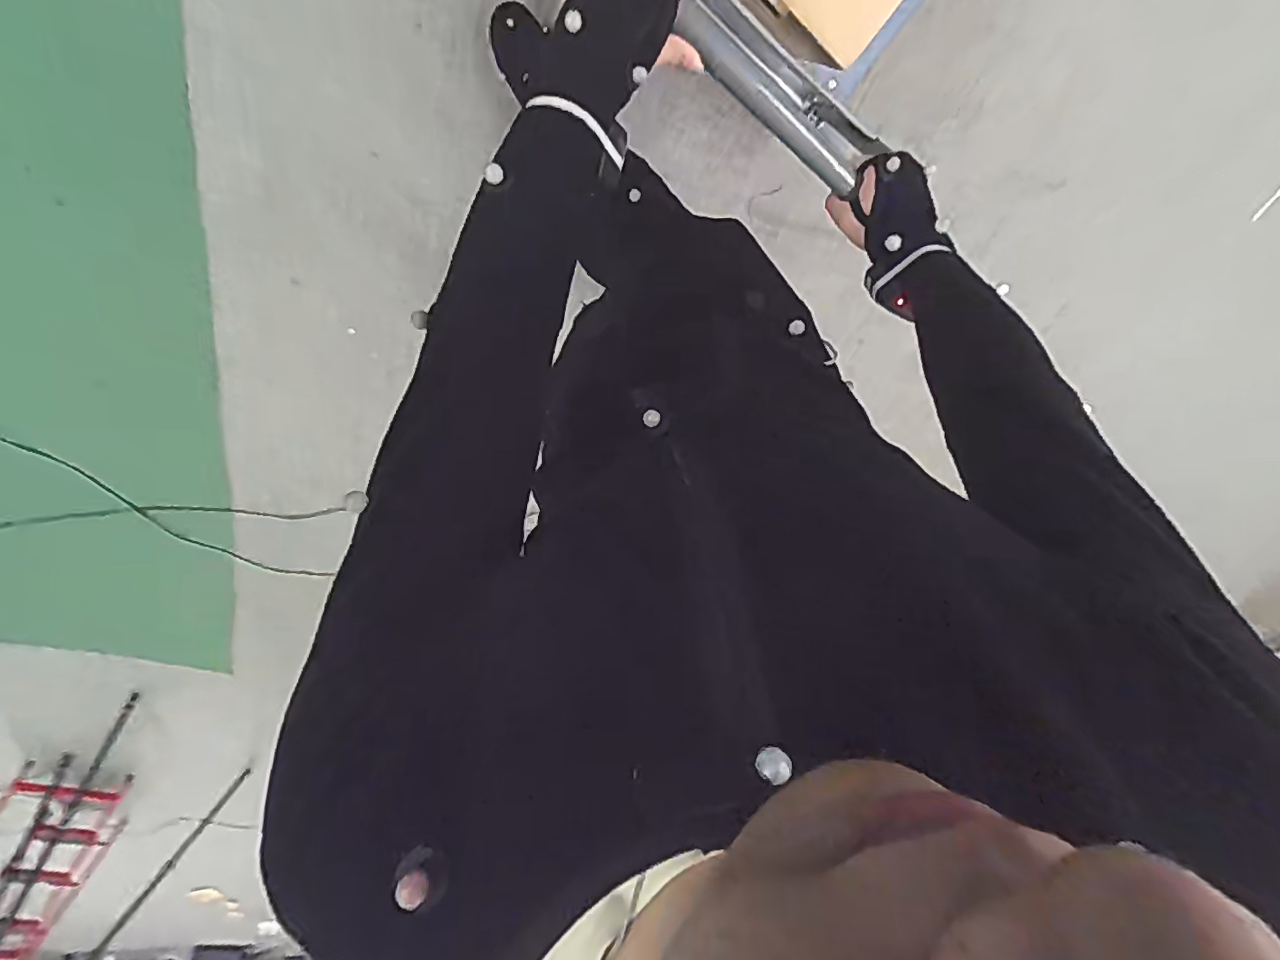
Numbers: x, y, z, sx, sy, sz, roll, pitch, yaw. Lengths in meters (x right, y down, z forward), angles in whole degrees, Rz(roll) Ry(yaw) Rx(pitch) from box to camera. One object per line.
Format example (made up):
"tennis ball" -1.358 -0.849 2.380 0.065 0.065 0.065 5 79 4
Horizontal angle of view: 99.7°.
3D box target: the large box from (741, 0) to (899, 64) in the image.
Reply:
"large box" 0.292 -0.899 0.758 0.320 0.320 0.408 27 124 -23
